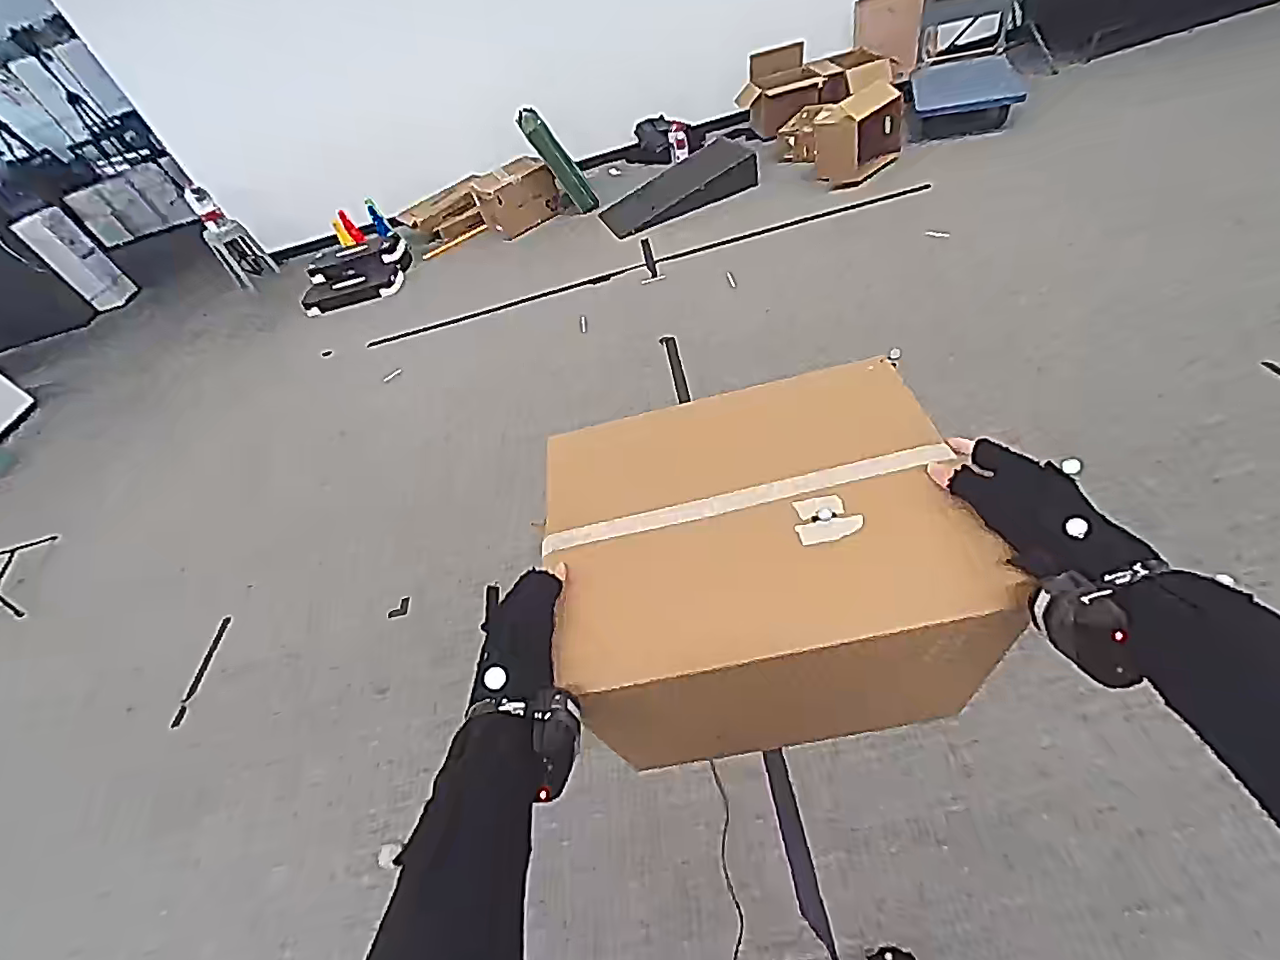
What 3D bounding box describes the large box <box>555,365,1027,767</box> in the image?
[{"bbox_3d":[0.136,0.117,0.661,0.408,0.320,0.320,-13,50,5],"label":"large box"}]
